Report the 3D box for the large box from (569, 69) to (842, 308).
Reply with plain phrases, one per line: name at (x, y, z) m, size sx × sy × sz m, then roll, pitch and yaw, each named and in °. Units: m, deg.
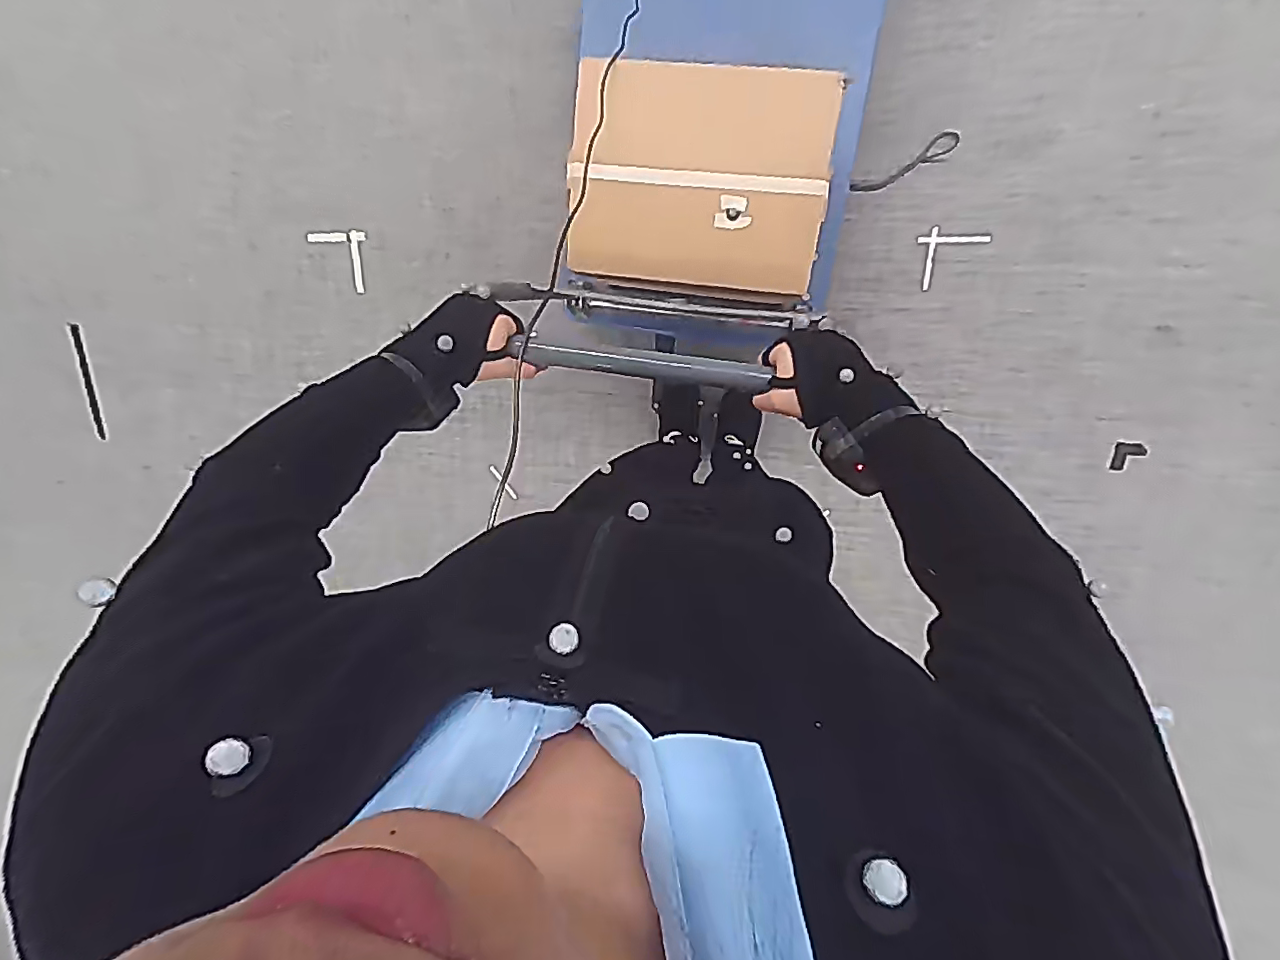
large box at (0.106, -0.501, 0.996) m, size 0.408 × 0.320 × 0.320 m, roll 8°, pitch 107°, yaw 6°
